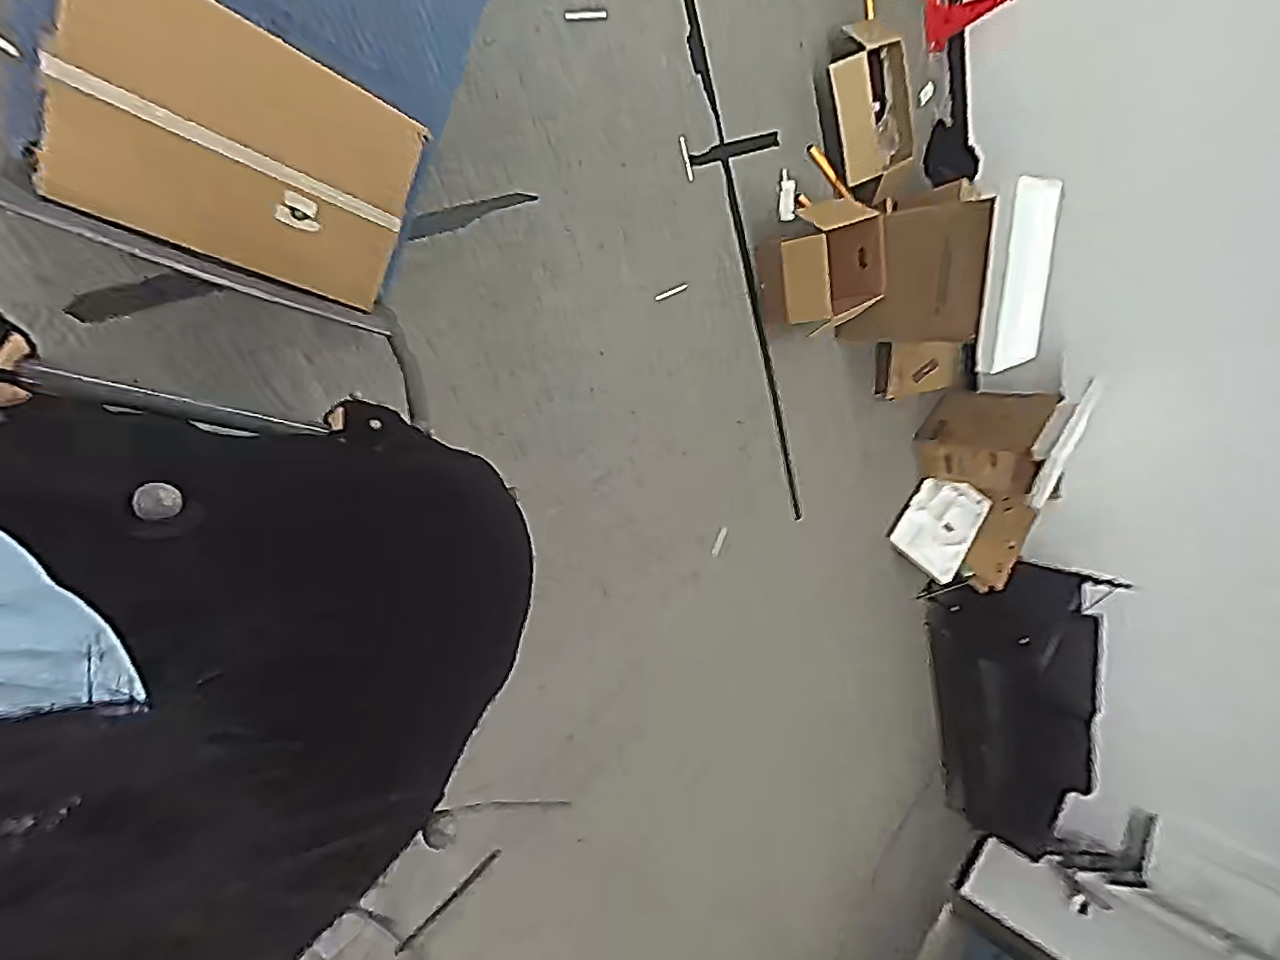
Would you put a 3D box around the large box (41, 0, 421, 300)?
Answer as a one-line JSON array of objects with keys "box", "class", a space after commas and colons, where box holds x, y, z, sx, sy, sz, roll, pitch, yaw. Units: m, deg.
[{"box": [-0.644, -0.549, 0.889, 0.408, 0.320, 0.320, 13, 111, -42], "class": "large box"}]
